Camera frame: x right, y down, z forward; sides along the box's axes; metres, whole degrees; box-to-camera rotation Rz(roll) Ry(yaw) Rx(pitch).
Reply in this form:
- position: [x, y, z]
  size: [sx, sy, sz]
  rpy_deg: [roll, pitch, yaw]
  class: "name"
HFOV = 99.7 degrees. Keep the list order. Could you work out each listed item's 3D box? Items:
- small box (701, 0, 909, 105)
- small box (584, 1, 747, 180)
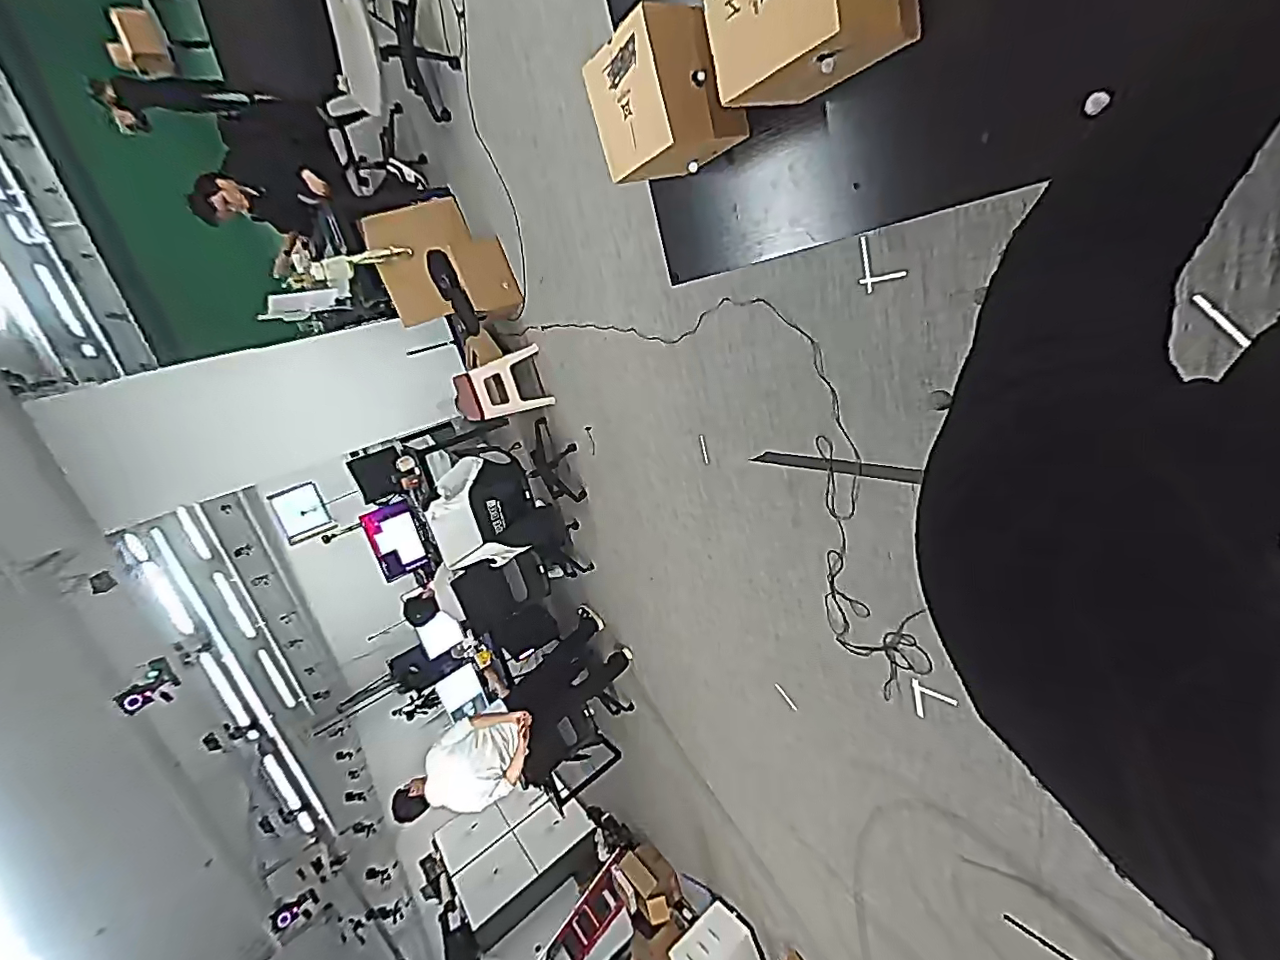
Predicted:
- position: [0.196, -0.577, 0.641]
  size: [0.179, 0.176, 0.168]
  rpy_deg: [10, 120, 54]
  class: "small box"
- position: [0.043, -0.605, 0.857]
  size: [0.168, 0.176, 0.179]
  rpy_deg: [8, 120, 55]
  class: "small box"
